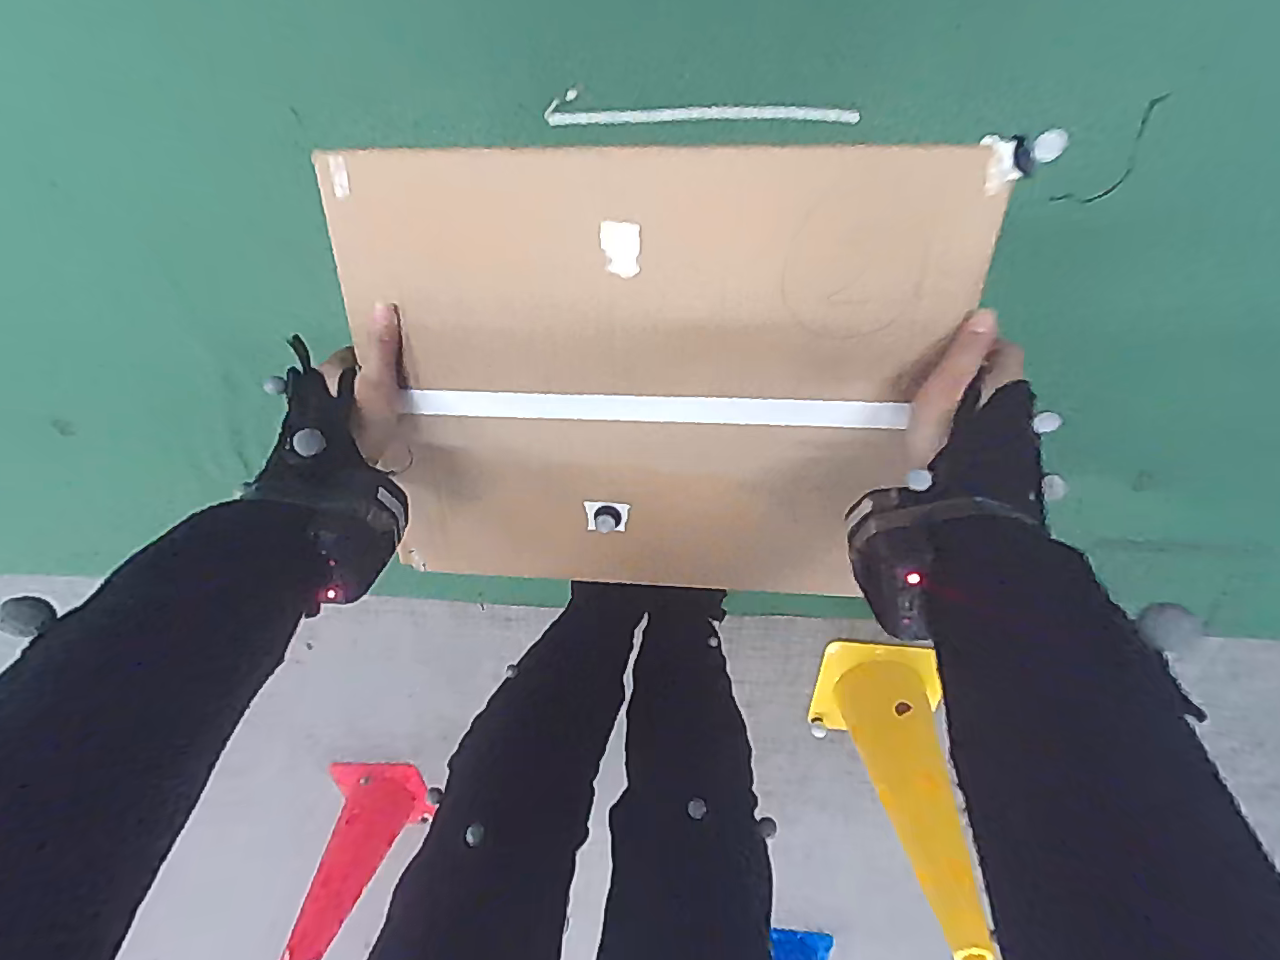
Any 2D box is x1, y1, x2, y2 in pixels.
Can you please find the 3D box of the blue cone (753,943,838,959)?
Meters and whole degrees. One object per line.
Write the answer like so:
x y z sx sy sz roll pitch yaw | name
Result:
0.345 1.216 1.123 0.192 0.380 0.193 2 117 5 | blue cone

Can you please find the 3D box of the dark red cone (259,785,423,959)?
-0.573 0.758 0.957 0.202 0.394 0.201 -5 113 9 | dark red cone
